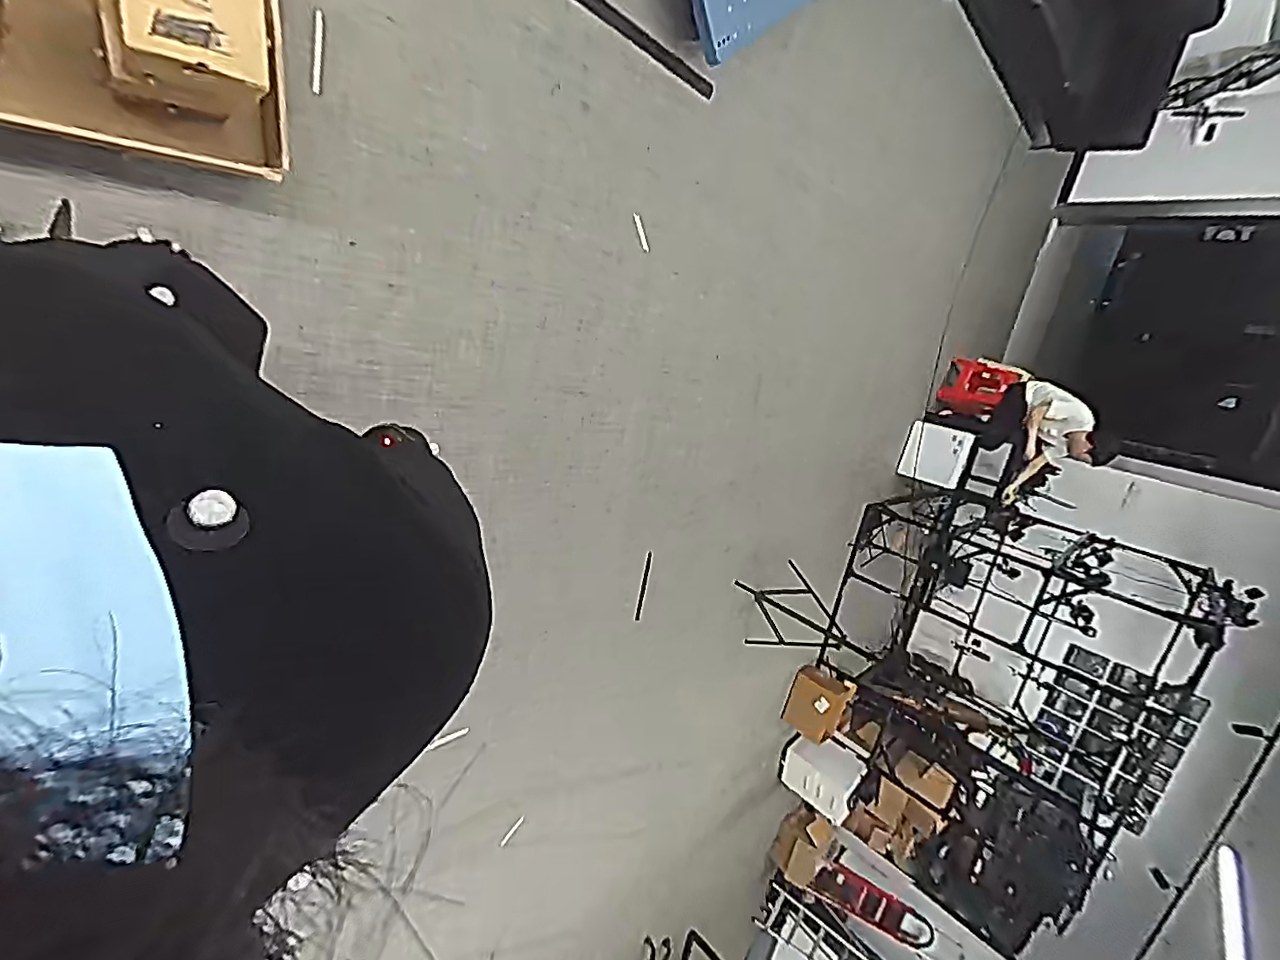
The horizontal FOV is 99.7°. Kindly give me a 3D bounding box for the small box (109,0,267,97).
[{"bbox_3d":[-0.672,-0.704,0.803,0.168,0.176,0.179,-9,114,-43],"label":"small box"}]
